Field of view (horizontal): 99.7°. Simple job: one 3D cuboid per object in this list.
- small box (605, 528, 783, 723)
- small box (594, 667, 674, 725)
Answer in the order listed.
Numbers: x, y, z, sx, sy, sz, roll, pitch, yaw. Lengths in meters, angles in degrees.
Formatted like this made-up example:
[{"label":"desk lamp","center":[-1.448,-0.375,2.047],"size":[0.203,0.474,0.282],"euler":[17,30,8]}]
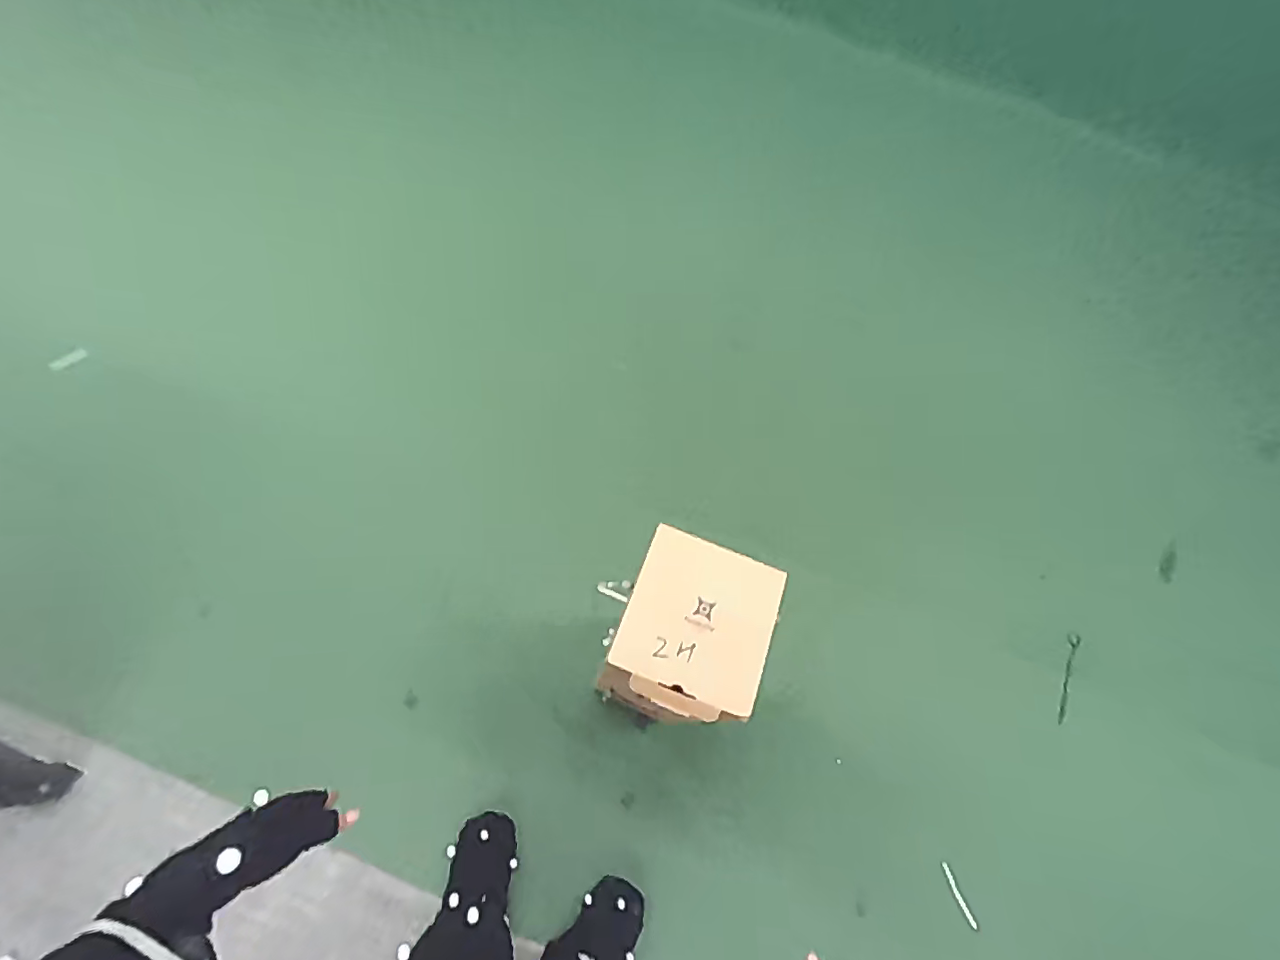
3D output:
[{"label":"small box","center":[0.059,0.192,0.693],"size":[0.168,0.176,0.179],"euler":[22,65,4]},{"label":"small box","center":[0.014,0.396,1.138],"size":[0.168,0.176,0.179],"euler":[24,65,5]}]
